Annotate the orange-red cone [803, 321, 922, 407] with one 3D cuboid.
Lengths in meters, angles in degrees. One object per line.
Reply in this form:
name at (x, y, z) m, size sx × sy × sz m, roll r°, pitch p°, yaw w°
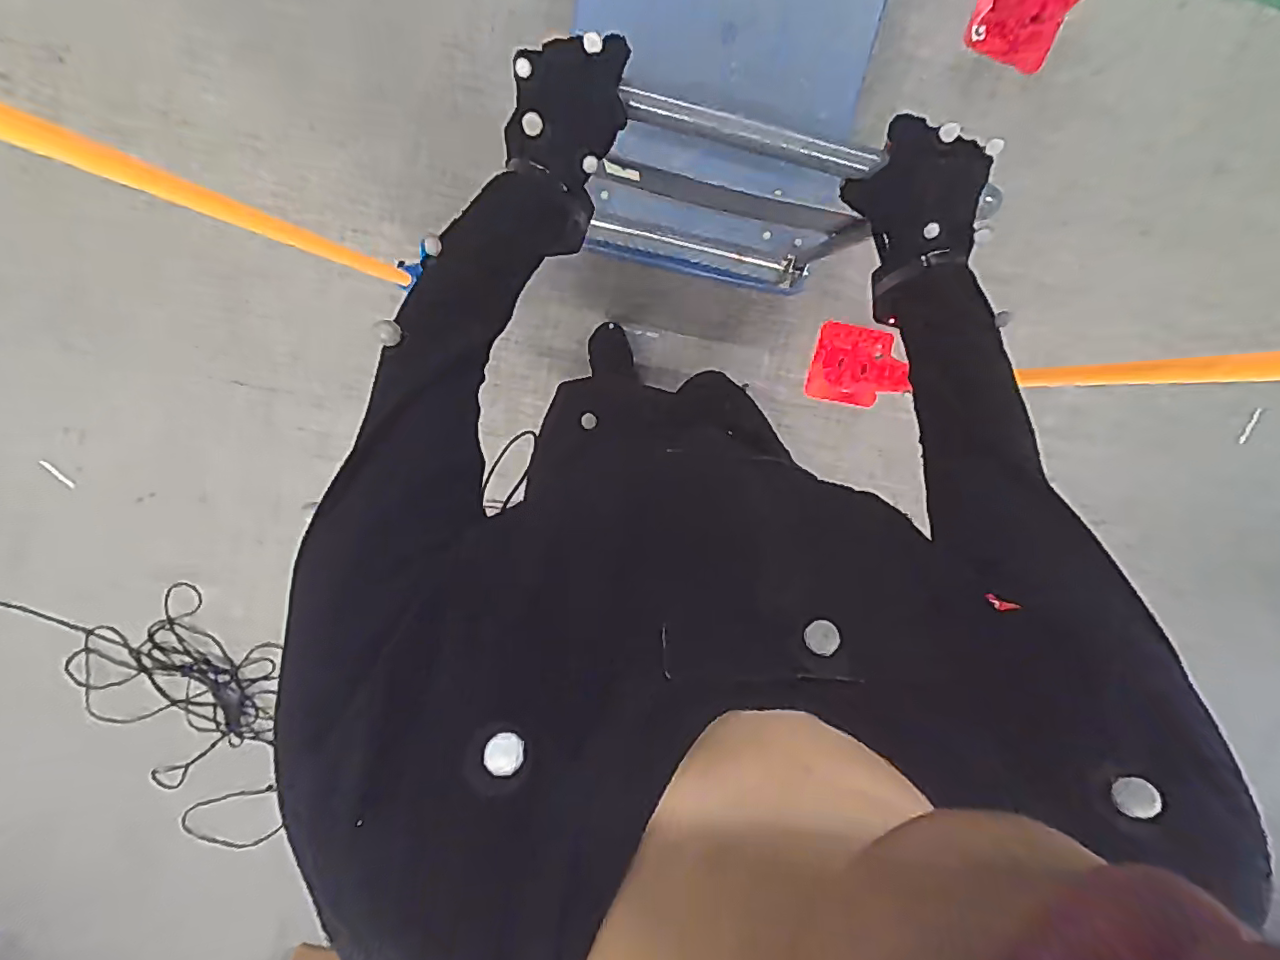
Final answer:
orange-red cone at (0.548, -0.256, 1.264) m, size 0.199 × 0.360 × 0.198 m, roll 12°, pitch 106°, yaw -4°
